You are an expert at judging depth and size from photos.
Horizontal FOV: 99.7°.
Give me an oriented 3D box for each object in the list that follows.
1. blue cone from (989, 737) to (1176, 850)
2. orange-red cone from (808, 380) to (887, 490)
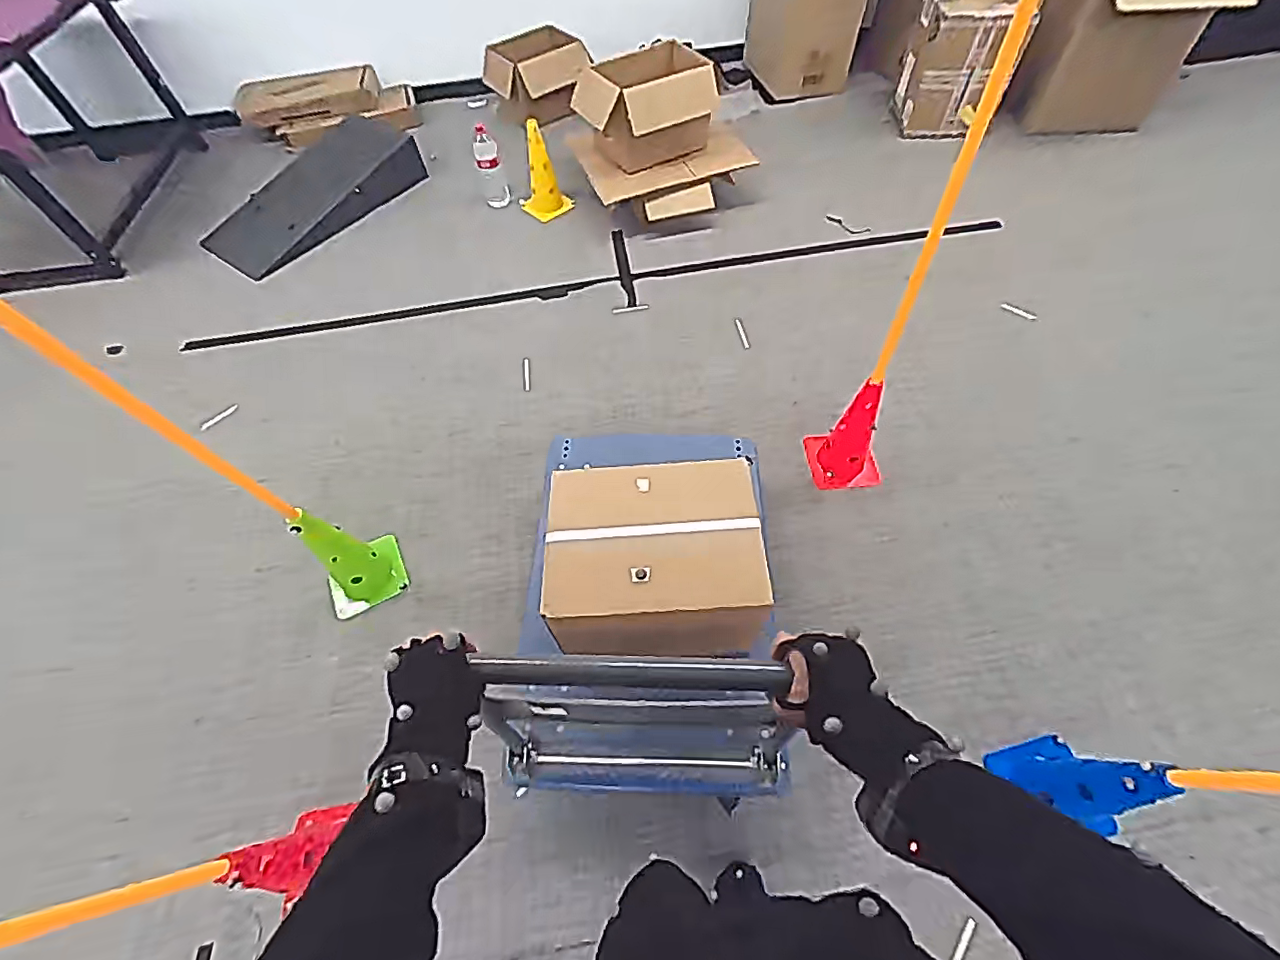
[{"bbox_3d":[0.877,0.585,1.037,0.193,0.380,0.192,-12,56,-5],"label":"blue cone"},{"bbox_3d":[0.618,-0.146,1.514,0.199,0.360,0.198,-3,57,1],"label":"orange-red cone"}]
